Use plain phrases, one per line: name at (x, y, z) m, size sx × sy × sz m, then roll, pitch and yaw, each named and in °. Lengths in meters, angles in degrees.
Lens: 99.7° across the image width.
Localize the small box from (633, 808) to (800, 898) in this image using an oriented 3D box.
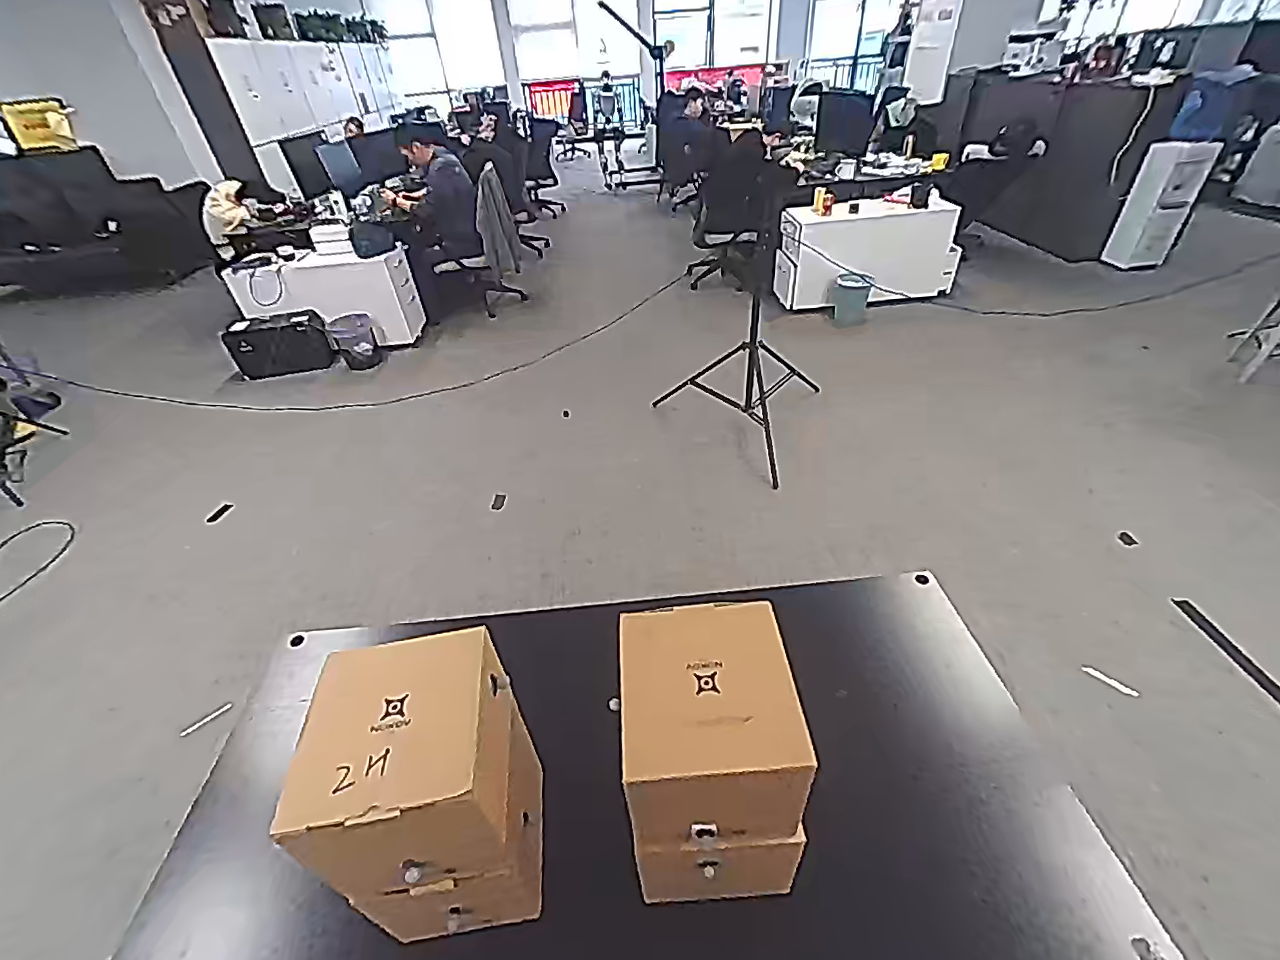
small box at (0.083, 0.390, 0.667) m, size 0.179 × 0.176 × 0.168 m, roll -4°, pitch 38°, yaw 0°

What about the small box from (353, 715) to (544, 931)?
small box at (-0.214, 0.421, 0.663) m, size 0.168 × 0.176 × 0.179 m, roll -9°, pitch 38°, yaw -3°

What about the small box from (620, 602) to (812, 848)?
small box at (0.069, 0.257, 0.574) m, size 0.168 × 0.176 × 0.179 m, roll -6°, pitch 39°, yaw 1°

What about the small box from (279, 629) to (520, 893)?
small box at (-0.226, 0.288, 0.565) m, size 0.168 × 0.176 × 0.179 m, roll -9°, pitch 38°, yaw -5°
